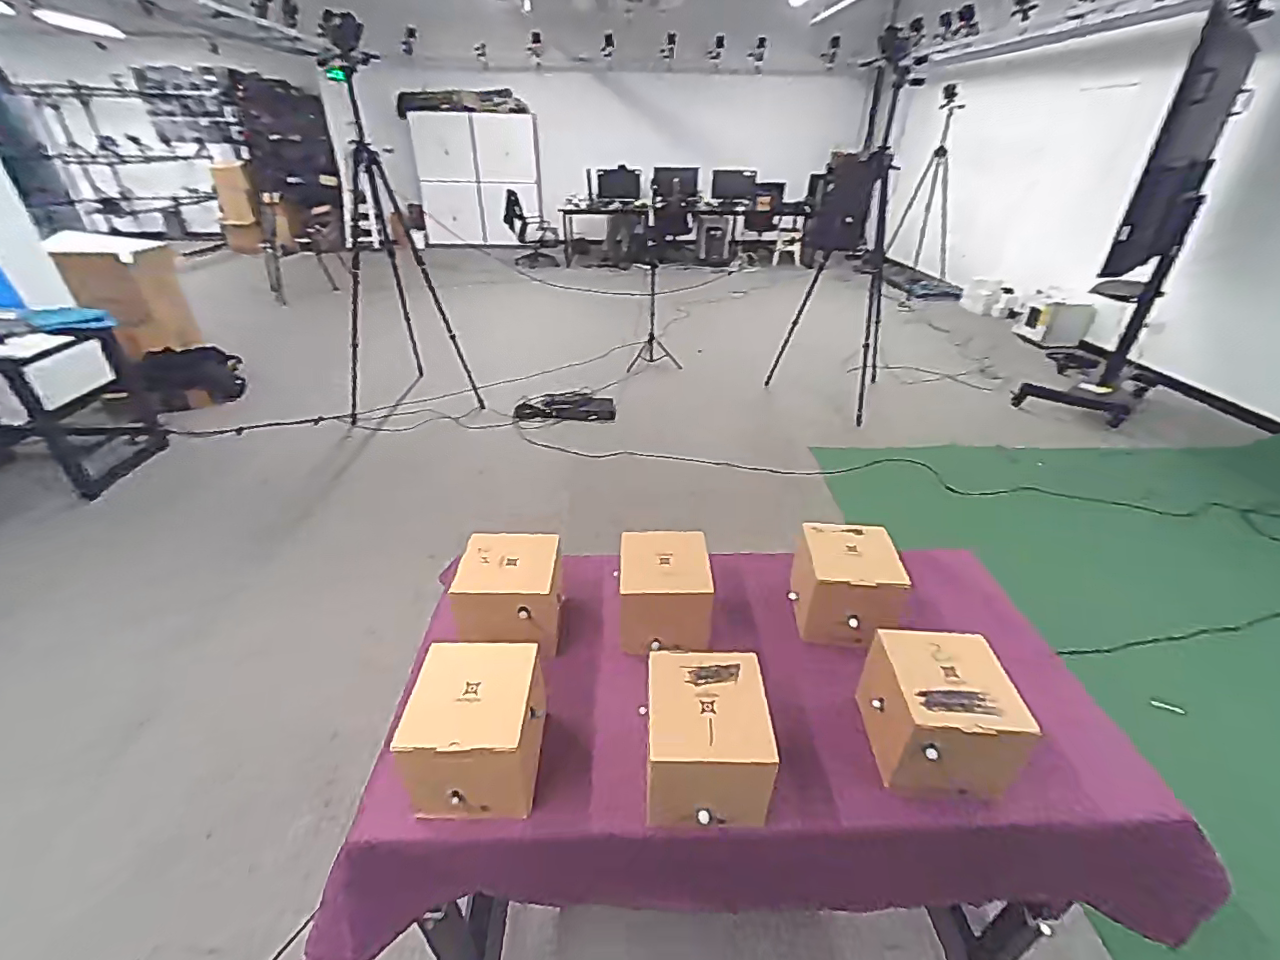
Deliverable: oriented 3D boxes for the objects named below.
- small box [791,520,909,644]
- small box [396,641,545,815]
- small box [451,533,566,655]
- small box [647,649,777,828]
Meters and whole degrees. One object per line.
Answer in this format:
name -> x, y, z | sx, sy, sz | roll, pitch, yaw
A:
small box -> 0.403, 0.202, 1.069 | 0.168, 0.176, 0.179 | 4, 33, 4
small box -> -0.238, 0.366, 0.810 | 0.168, 0.176, 0.179 | 0, 32, 0
small box -> -0.240, 0.220, 1.041 | 0.179, 0.176, 0.168 | 0, 32, 0
small box -> 0.094, 0.375, 0.795 | 0.168, 0.176, 0.179 | 0, 32, 1
